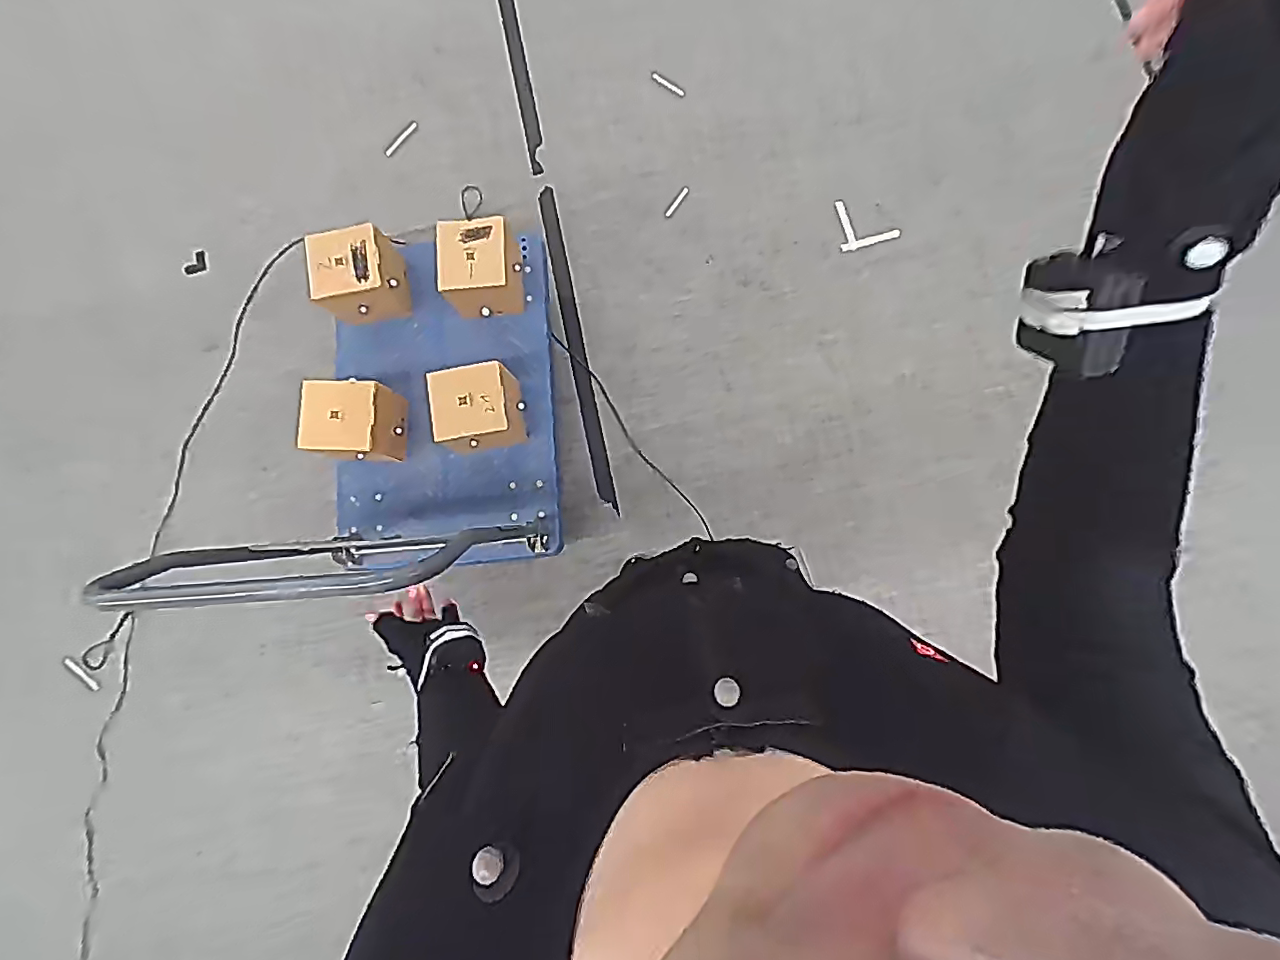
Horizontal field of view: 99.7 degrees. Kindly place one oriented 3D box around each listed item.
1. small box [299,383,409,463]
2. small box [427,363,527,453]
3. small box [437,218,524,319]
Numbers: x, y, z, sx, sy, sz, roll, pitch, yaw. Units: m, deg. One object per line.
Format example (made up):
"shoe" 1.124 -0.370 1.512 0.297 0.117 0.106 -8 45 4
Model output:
"small box" -0.697 -0.135 1.330 0.179 0.176 0.168 0 83 1
"small box" -0.391 -0.168 1.317 0.179 0.176 0.168 -10 83 2
"small box" -0.395 -0.525 1.358 0.168 0.176 0.179 -4 84 3
